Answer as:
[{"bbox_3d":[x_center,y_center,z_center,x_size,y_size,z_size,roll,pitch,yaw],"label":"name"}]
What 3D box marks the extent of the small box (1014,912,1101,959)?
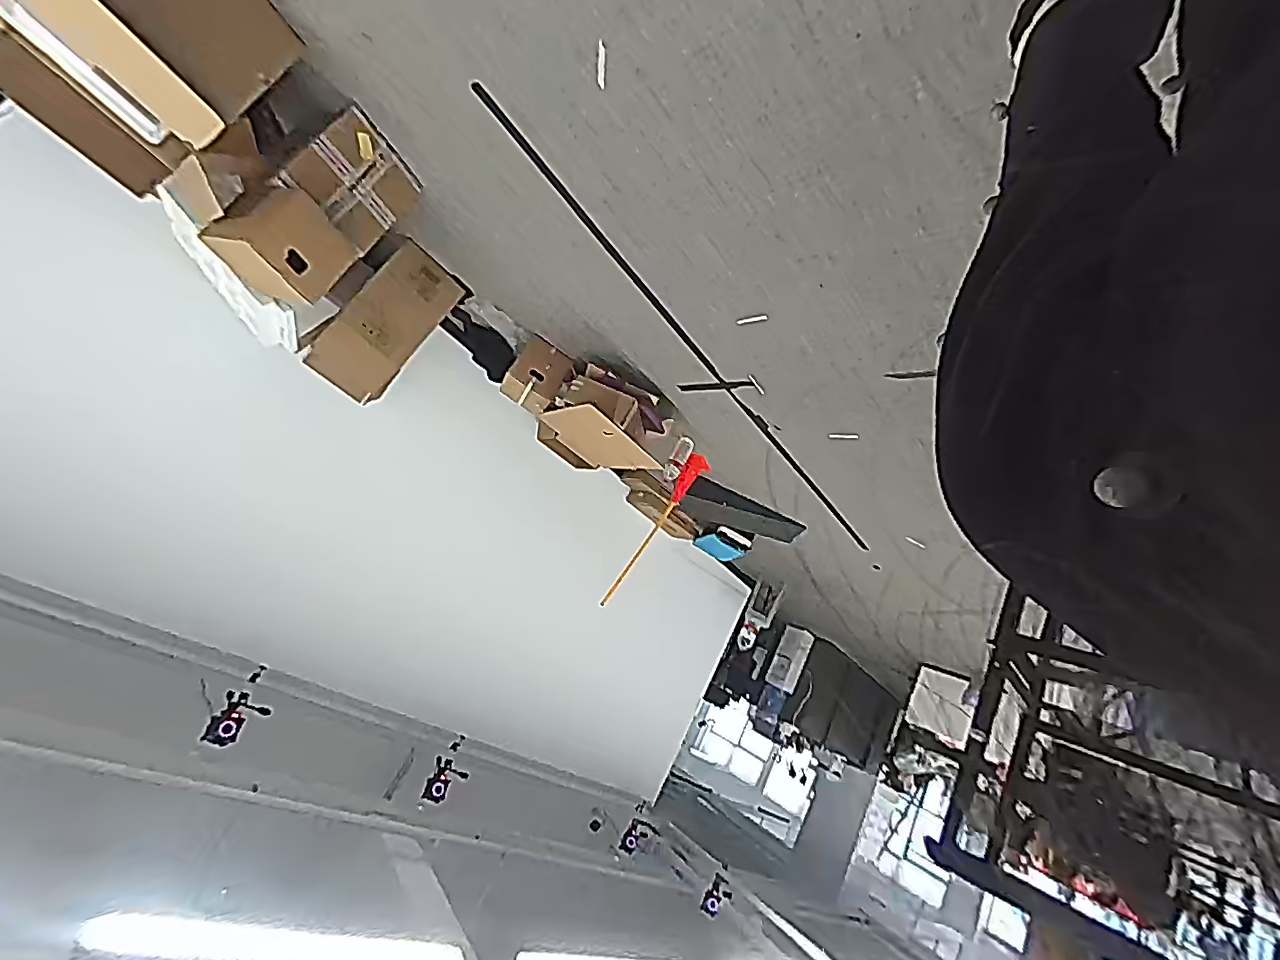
[{"bbox_3d":[1.173,1.361,1.524,0.168,0.176,0.179,9,155,49],"label":"small box"}]
